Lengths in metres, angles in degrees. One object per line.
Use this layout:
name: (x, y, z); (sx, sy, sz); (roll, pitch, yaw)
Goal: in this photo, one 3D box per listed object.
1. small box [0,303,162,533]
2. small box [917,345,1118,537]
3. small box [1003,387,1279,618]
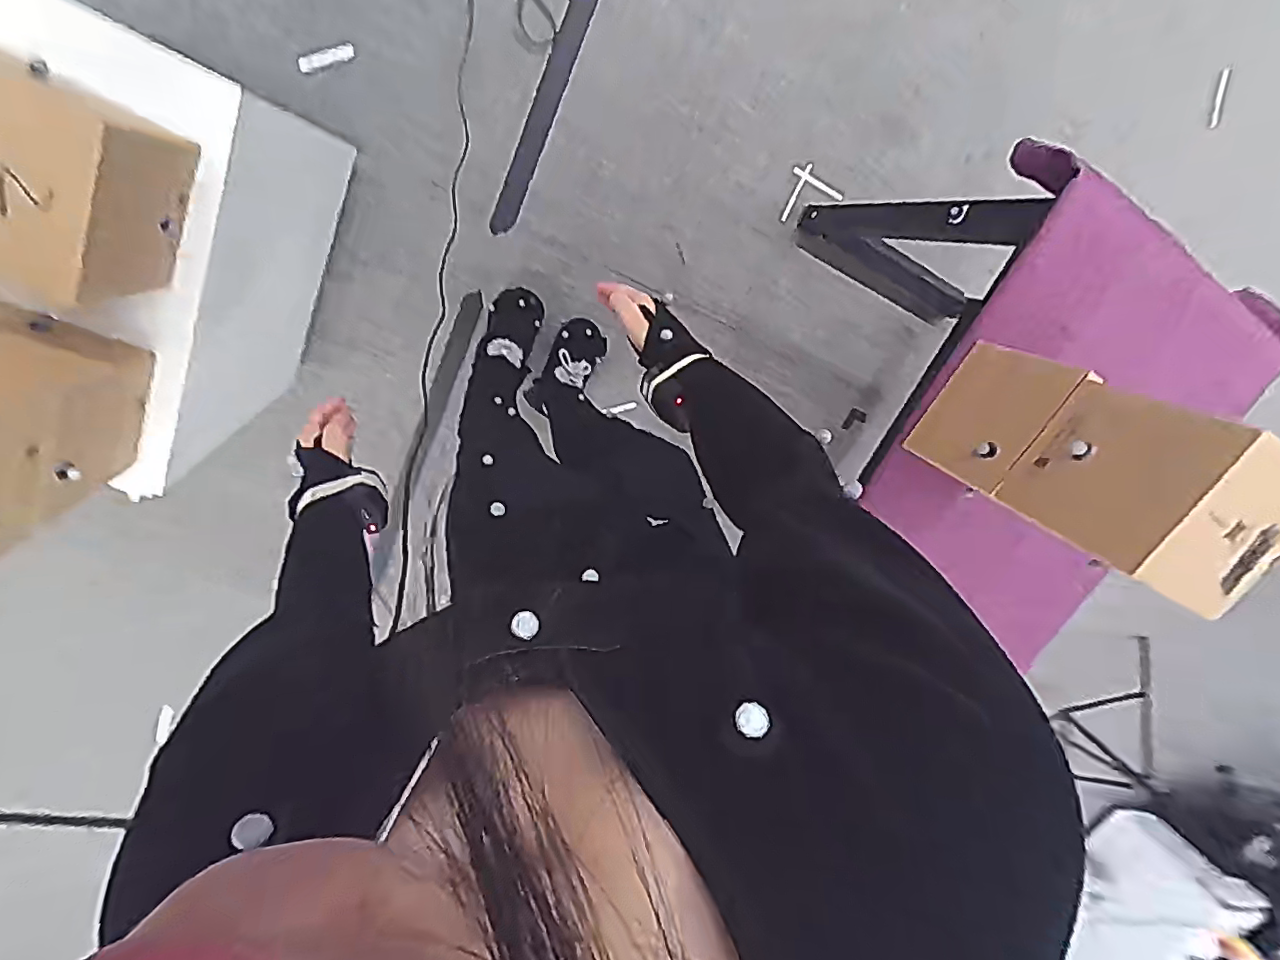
small box: (-0.664, -0.074, 0.567); (0.179, 0.176, 0.168); (20, 109, -21)
small box: (0.514, -0.057, 0.731); (0.168, 0.176, 0.179); (23, 107, -24)
small box: (0.559, 0.018, 0.591); (0.179, 0.176, 0.168); (22, 108, -22)
